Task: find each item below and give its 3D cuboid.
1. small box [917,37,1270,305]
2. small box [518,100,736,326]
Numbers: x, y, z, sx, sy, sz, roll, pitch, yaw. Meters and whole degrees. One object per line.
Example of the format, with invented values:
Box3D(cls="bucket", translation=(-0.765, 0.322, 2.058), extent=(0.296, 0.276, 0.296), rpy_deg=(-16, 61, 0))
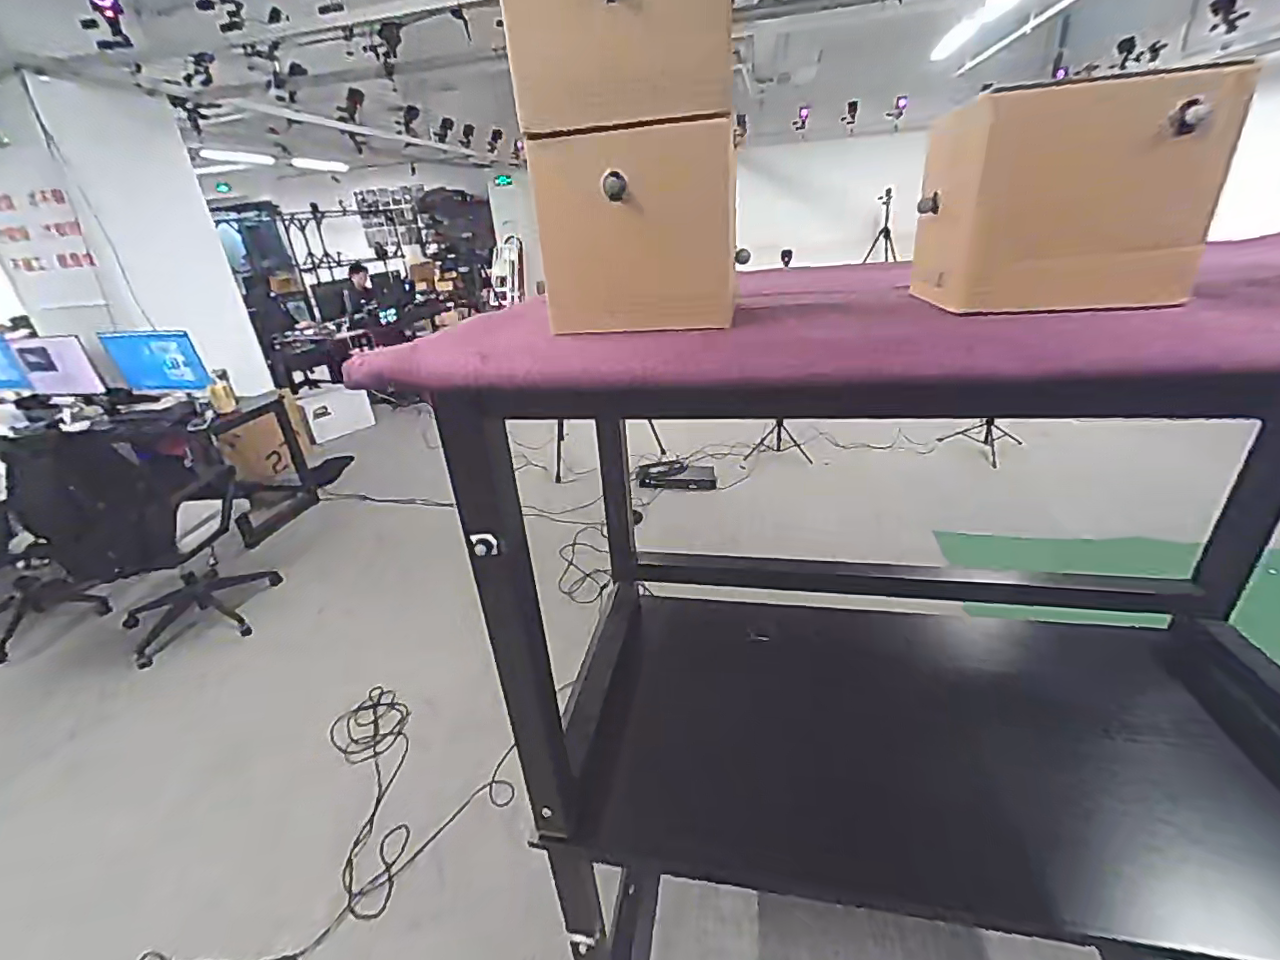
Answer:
Box3D(cls="small box", translation=(0.362, -0.253, 0.482), extent=(0.179, 0.176, 0.168), rpy_deg=(1, 25, 11))
Box3D(cls="small box", translation=(0.003, -0.252, 0.535), extent=(0.179, 0.176, 0.168), rpy_deg=(1, 28, 11))
